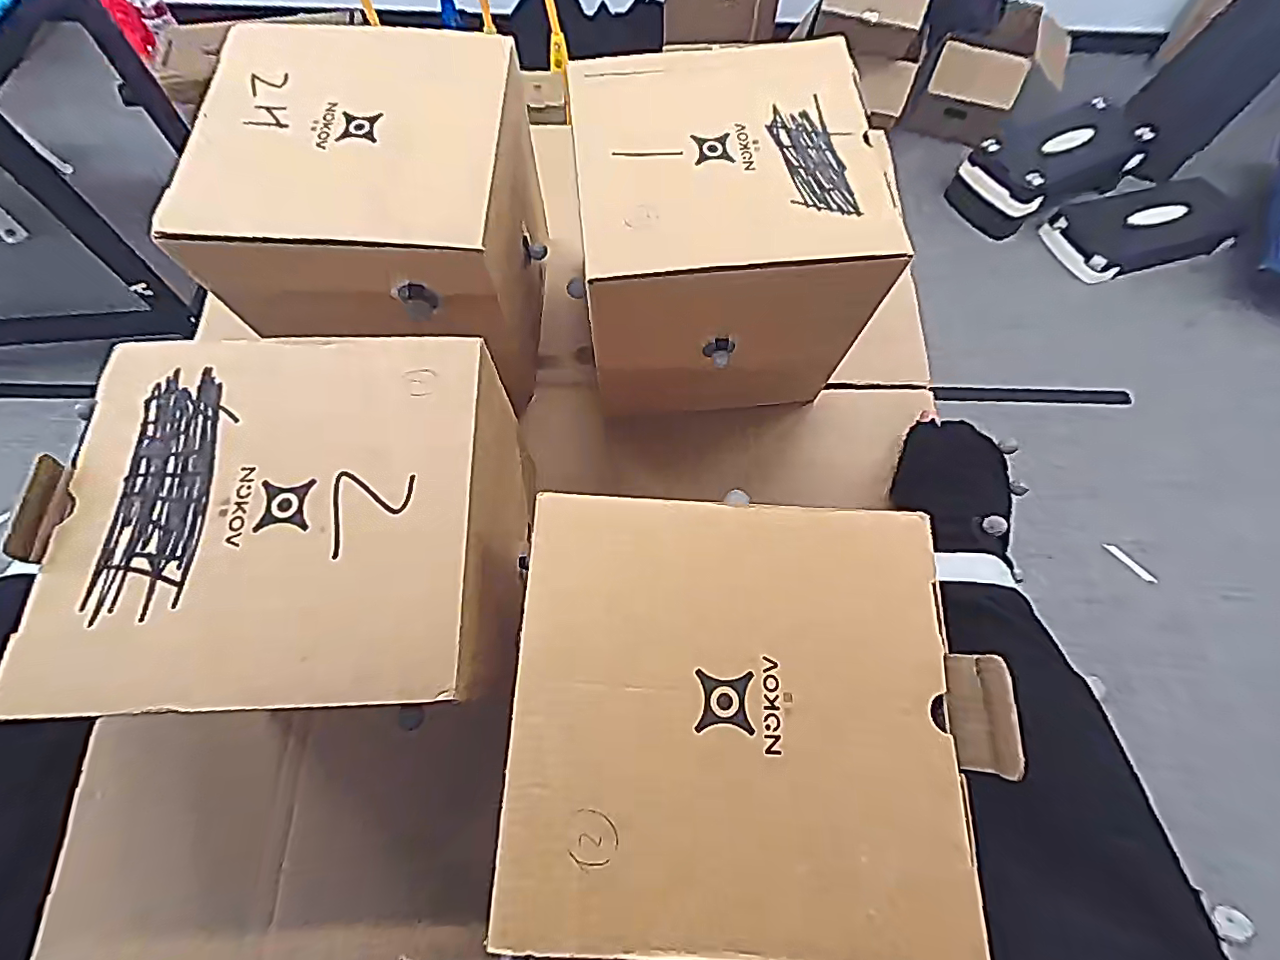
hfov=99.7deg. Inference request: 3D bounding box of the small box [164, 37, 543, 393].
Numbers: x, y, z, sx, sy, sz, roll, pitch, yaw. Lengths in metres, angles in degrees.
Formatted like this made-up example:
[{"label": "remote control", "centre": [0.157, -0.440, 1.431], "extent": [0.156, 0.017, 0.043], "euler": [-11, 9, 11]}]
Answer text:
[{"label": "small box", "centre": [-0.173, -0.175, 0.397], "extent": [0.179, 0.176, 0.168], "euler": [2, 71, 0]}]
